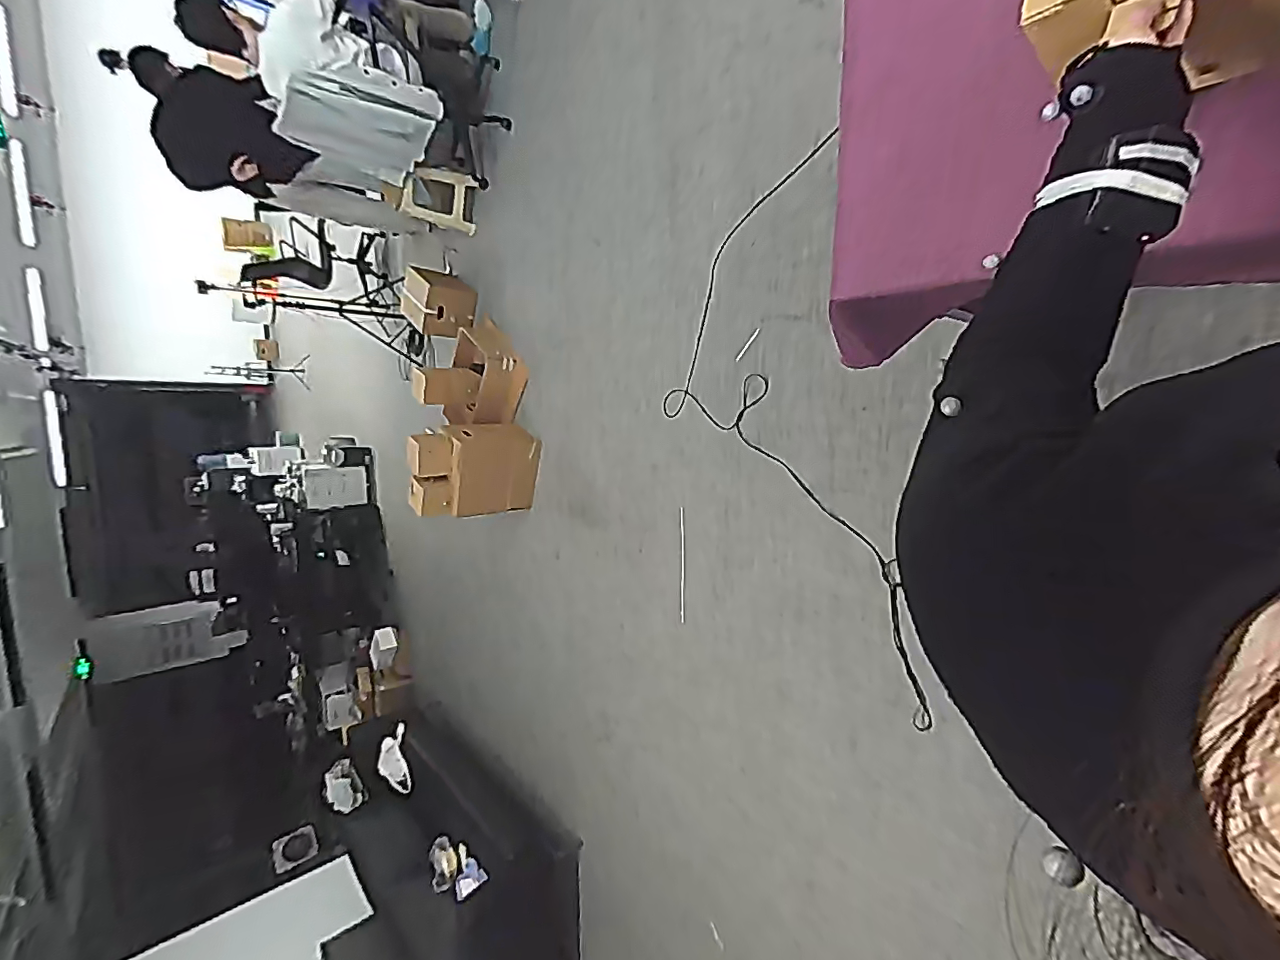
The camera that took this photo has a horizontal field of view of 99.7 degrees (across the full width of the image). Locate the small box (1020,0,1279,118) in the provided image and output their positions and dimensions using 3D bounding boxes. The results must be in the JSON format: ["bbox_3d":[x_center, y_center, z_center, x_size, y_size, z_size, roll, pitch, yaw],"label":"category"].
[{"bbox_3d":[0.476,-0.476,0.479,0.168,0.176,0.179,14,93,52],"label":"small box"}]
